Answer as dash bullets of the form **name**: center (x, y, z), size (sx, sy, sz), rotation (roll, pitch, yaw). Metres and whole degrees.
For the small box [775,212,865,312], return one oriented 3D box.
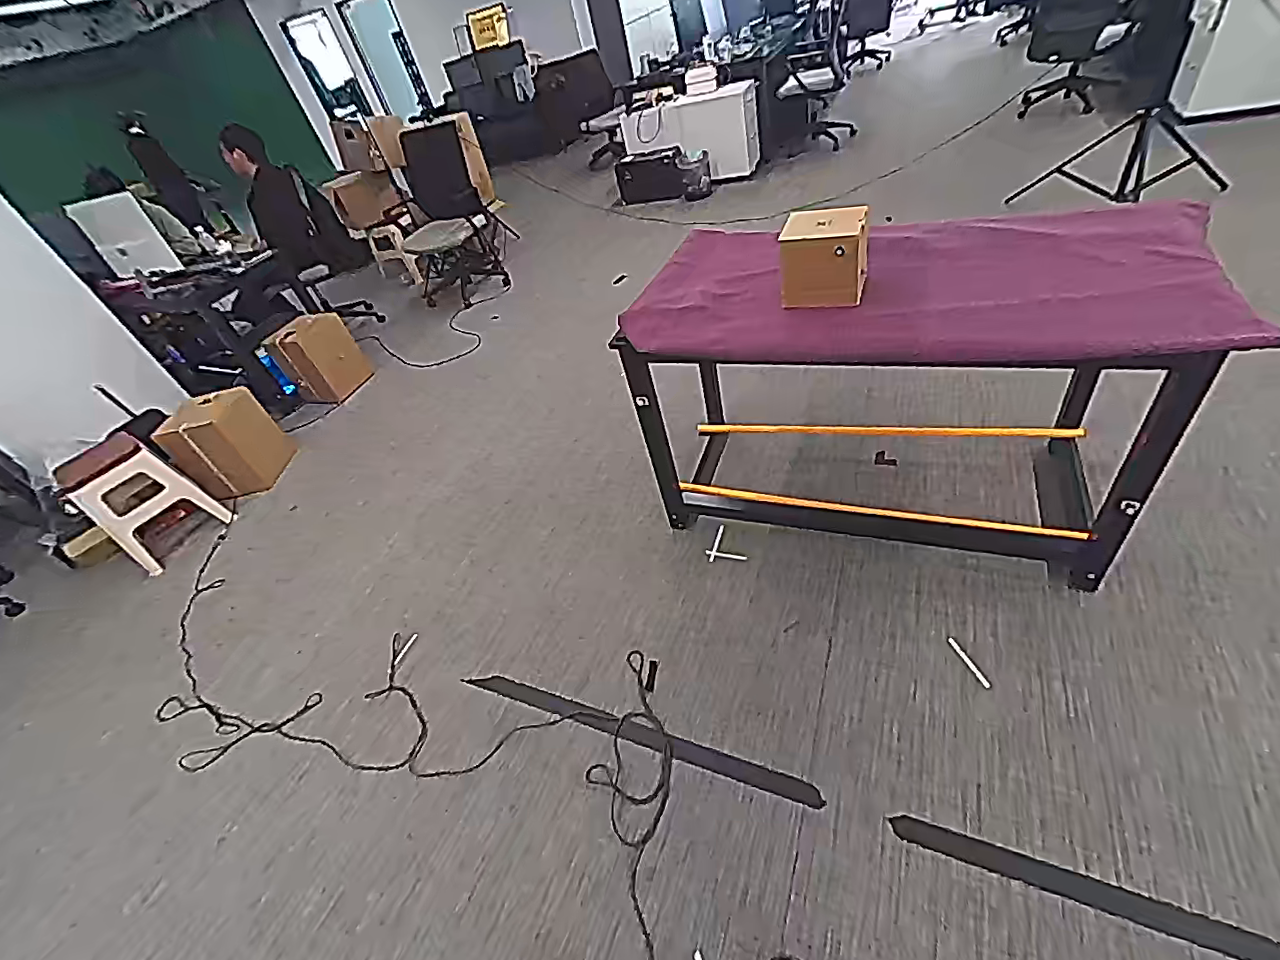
- **small box**: center (0.430, -0.514, 1.286), size (0.179, 0.176, 0.168), rotation (7, 47, 24)
